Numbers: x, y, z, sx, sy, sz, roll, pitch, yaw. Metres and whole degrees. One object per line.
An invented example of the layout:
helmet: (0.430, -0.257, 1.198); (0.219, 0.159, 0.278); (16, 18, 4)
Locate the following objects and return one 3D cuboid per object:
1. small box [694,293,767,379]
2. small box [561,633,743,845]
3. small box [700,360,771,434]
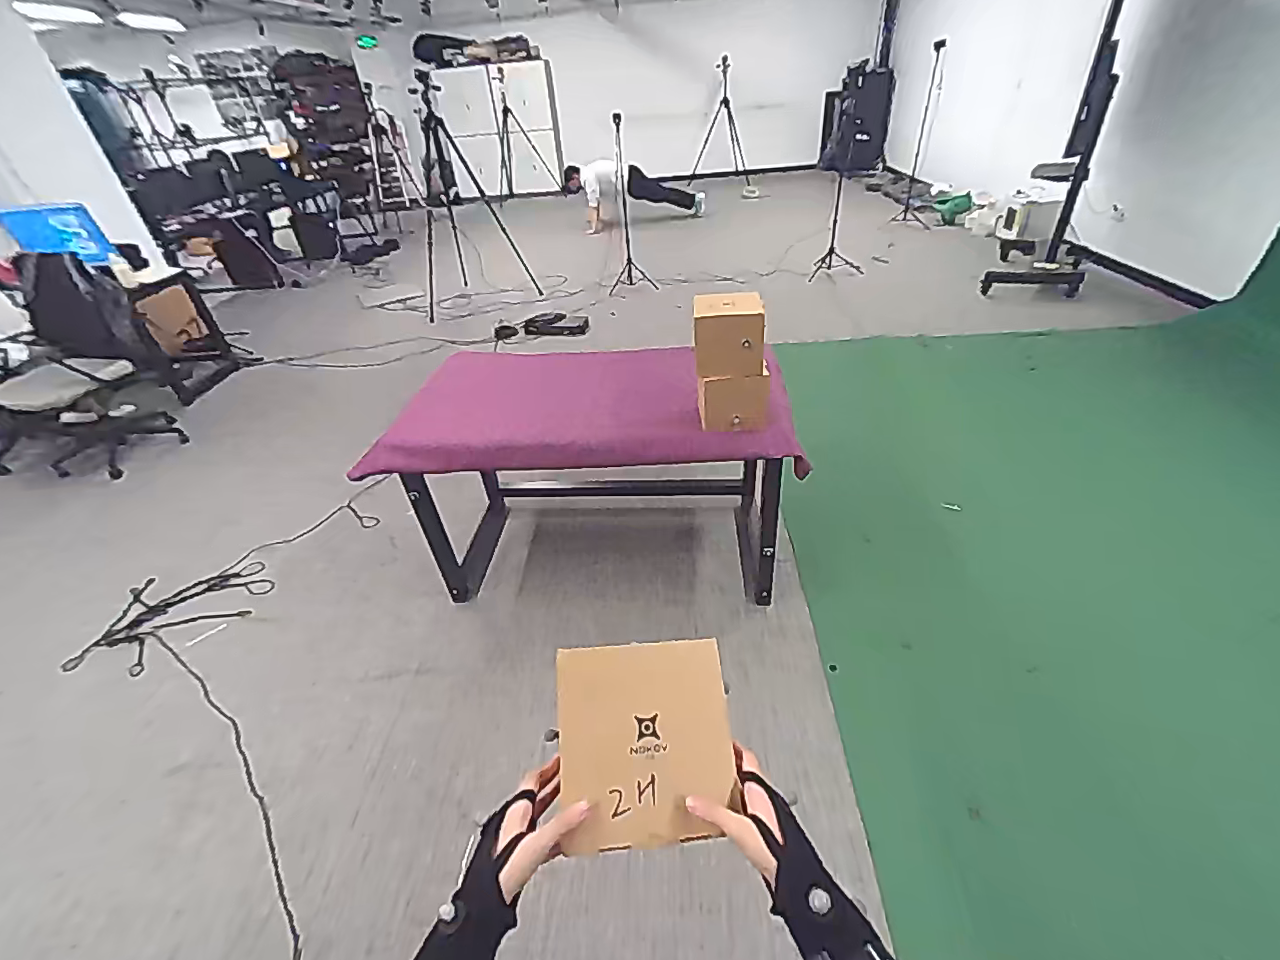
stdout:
small box: (0.235, -0.378, 1.423); (0.179, 0.176, 0.168); (-1, 37, 8)
small box: (-0.002, 0.274, 0.585); (0.168, 0.176, 0.179); (-1, 64, -7)
small box: (0.260, -0.243, 1.512); (0.179, 0.176, 0.168); (-4, 36, 3)
